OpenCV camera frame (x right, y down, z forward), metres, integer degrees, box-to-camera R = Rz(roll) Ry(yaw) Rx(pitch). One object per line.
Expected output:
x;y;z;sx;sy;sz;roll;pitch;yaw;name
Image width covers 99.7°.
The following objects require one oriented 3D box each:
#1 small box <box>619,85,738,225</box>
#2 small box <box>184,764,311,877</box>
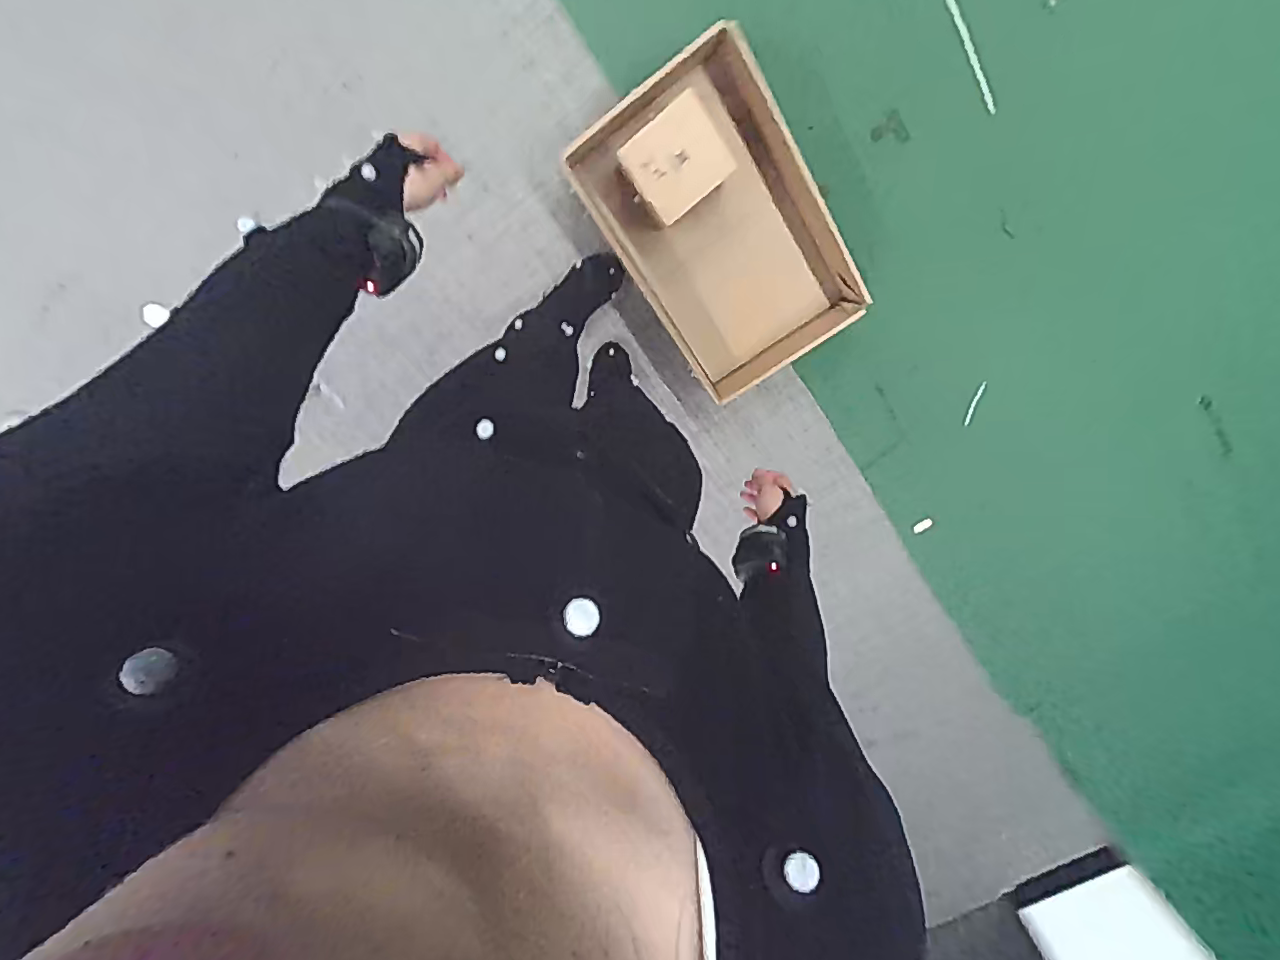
0.069;-0.643;1.093;0.179;0.176;0.168;-35;110;12;small box
-1.025;0.896;1.432;0.168;0.176;0.179;-36;110;12;small box
